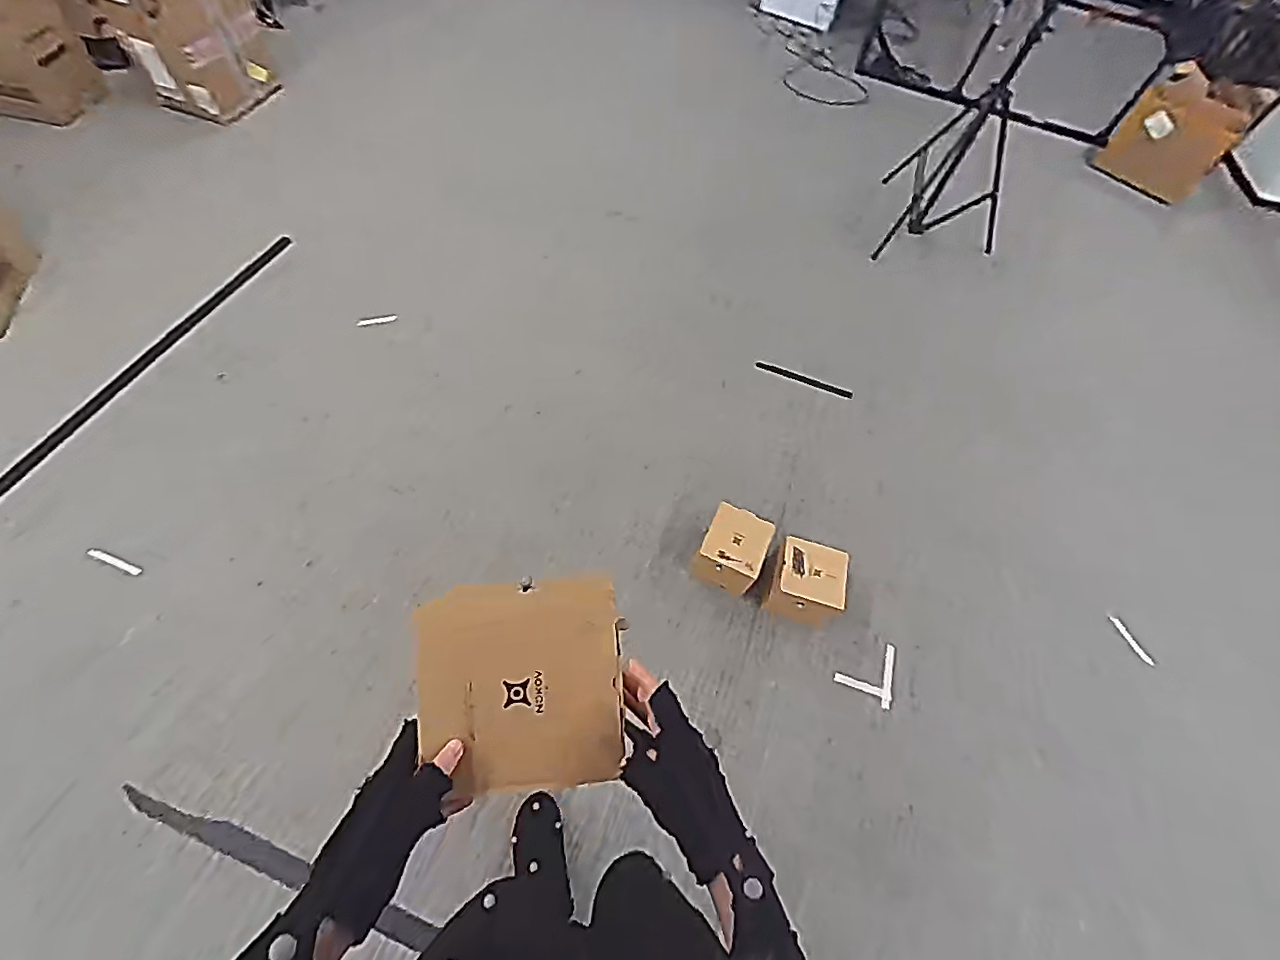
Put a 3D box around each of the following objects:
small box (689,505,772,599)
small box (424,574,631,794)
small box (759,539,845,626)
[{"bbox_3d":[0.249,0.207,1.526,0.168,0.176,0.179,24,60,8],"label":"small box"},{"bbox_3d":[-0.107,0.188,0.549,0.179,0.176,0.168,-2,85,-6],"label":"small box"},{"bbox_3d":[0.446,0.290,1.502,0.179,0.176,0.168,17,60,2],"label":"small box"}]
